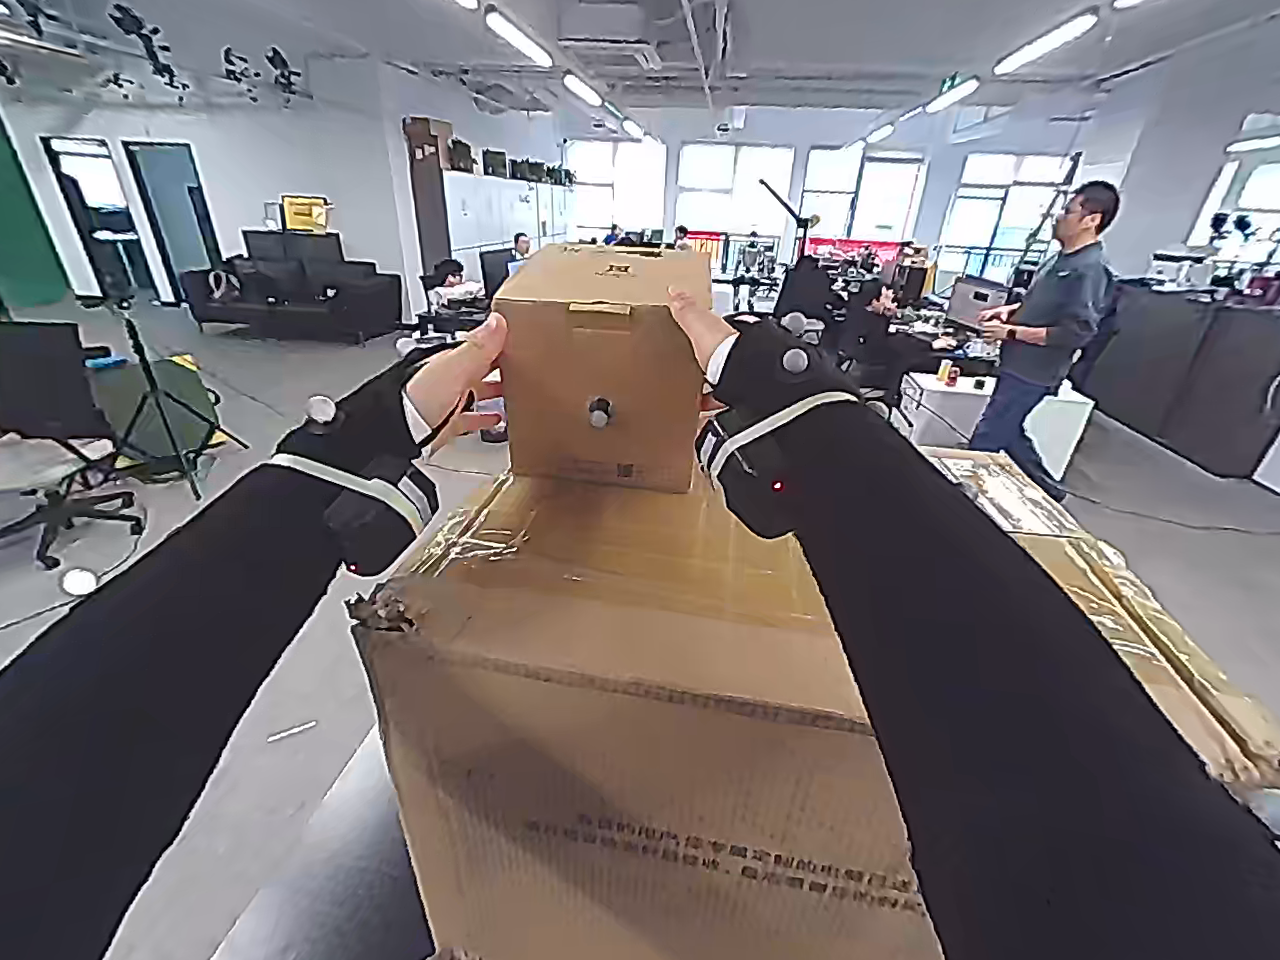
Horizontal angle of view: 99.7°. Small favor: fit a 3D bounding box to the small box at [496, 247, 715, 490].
[{"bbox_3d":[-0.019,-0.108,0.508,0.168,0.176,0.179,5,36,4],"label":"small box"}]
